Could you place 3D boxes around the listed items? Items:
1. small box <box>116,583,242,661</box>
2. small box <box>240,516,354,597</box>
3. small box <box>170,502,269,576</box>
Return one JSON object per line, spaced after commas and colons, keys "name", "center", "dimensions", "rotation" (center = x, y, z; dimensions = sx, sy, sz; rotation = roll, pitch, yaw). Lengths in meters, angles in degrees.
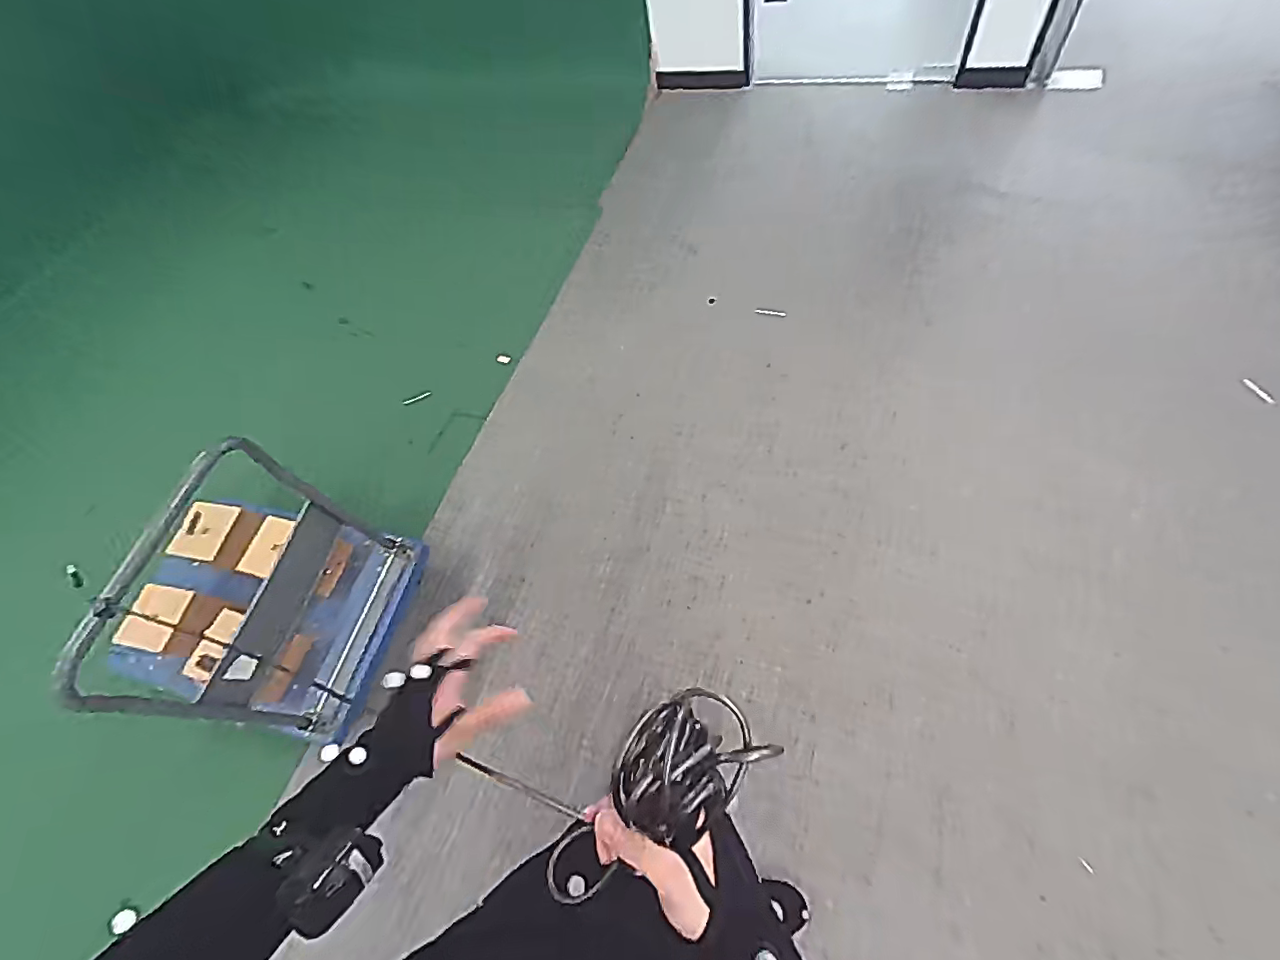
{"name": "small box", "center": [-1.280, 0.404, 1.519], "dimensions": [0.179, 0.176, 0.168], "rotation": [6, 63, 15]}
{"name": "small box", "center": [-0.976, 0.224, 1.552], "dimensions": [0.179, 0.176, 0.168], "rotation": [10, 65, 16]}
{"name": "small box", "center": [-1.232, 0.181, 1.626], "dimensions": [0.179, 0.176, 0.168], "rotation": [6, 65, 14]}
